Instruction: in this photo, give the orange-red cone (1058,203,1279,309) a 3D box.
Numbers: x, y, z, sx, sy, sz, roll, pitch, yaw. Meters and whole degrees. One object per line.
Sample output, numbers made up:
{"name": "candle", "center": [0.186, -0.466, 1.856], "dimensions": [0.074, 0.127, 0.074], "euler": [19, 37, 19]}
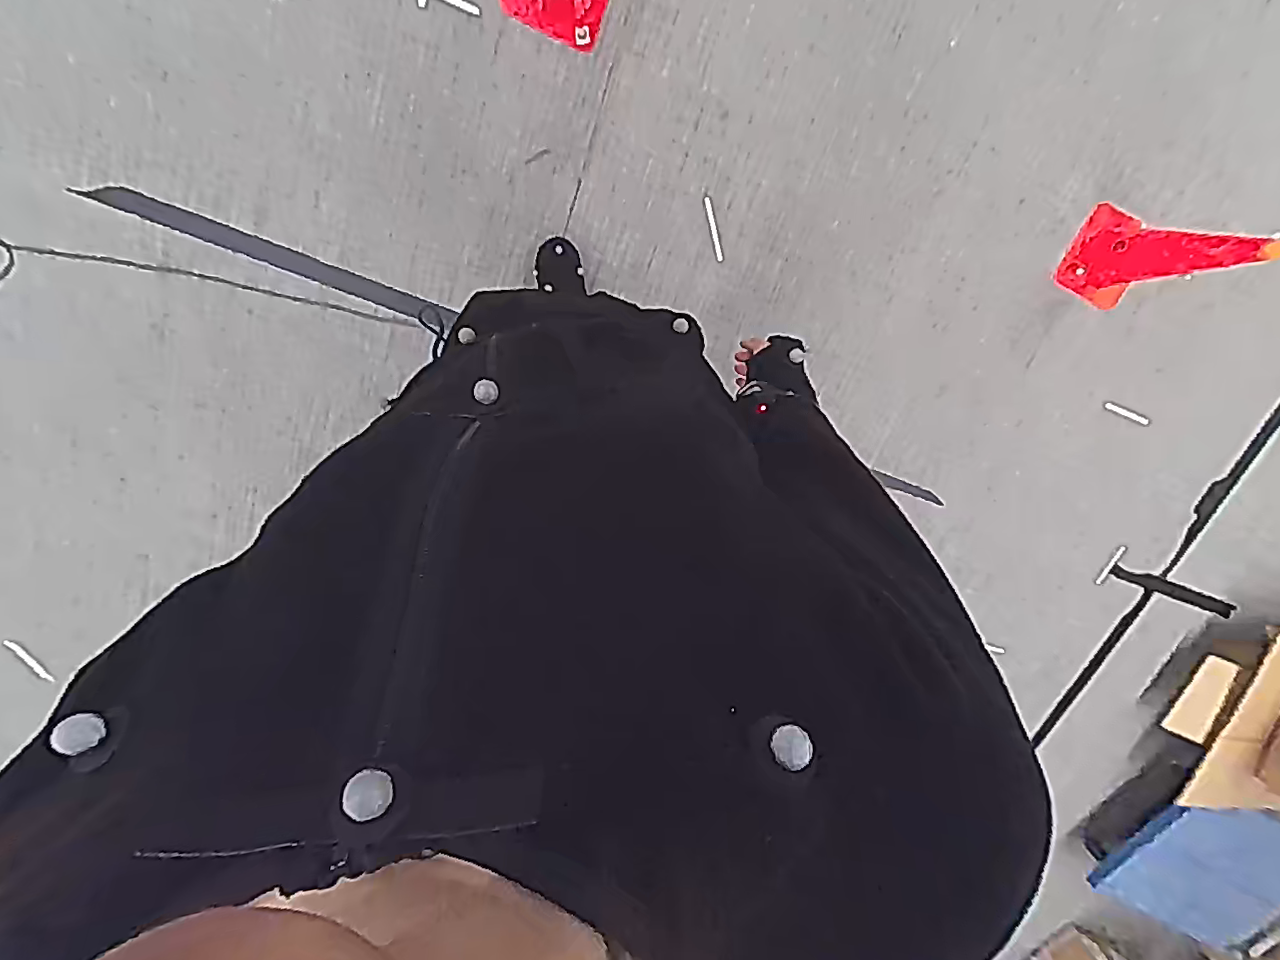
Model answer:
{"name": "orange-red cone", "center": [1.167, -0.487, 1.169], "dimensions": [0.199, 0.360, 0.198], "euler": [21, 108, -13]}
